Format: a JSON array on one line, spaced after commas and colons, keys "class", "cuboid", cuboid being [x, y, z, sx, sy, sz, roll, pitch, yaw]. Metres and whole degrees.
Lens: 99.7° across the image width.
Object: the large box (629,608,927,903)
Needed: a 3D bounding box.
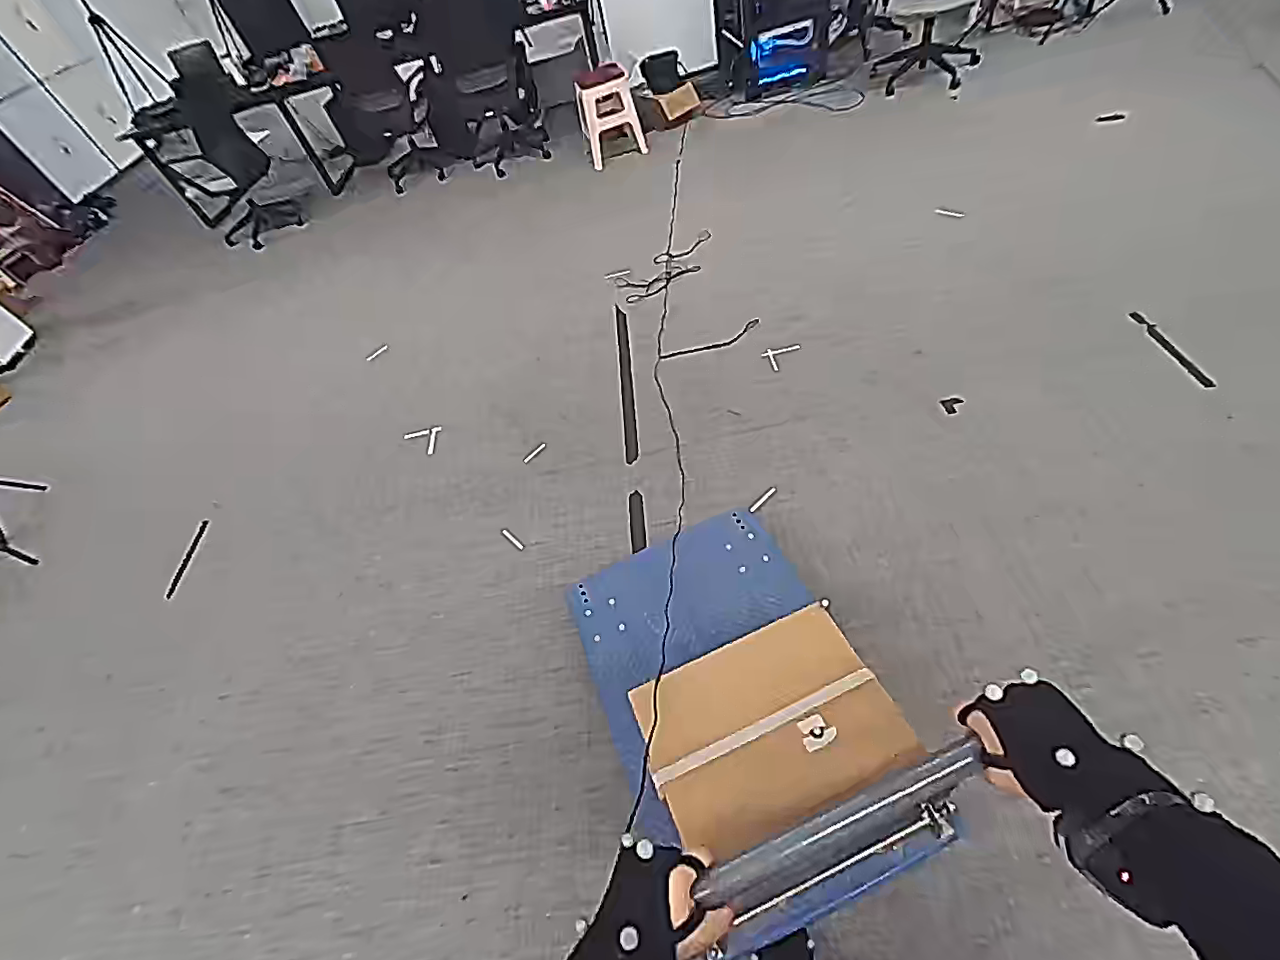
[{"class": "large box", "cuboid": [0.240, 0.517, 1.017, 0.408, 0.320, 0.320, -23, 48, -6]}]
